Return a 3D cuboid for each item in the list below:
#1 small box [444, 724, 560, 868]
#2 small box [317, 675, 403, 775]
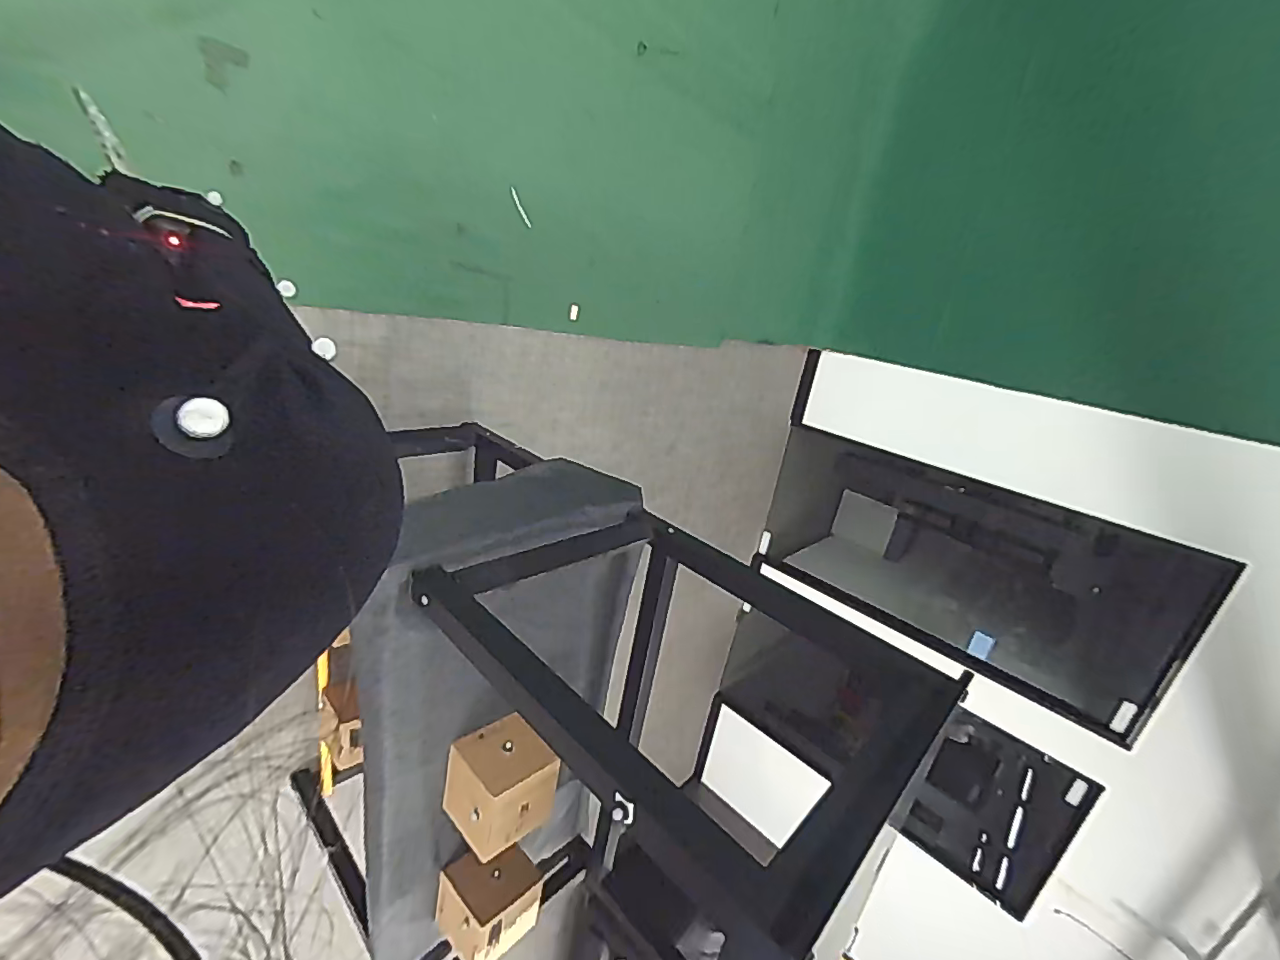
[{"bbox_3d":[-0.297,0.652,1.146,0.168,0.176,0.179,-7,116,-48],"label":"small box"},{"bbox_3d":[-0.824,0.708,1.583,0.179,0.176,0.168,-7,116,-48],"label":"small box"}]
